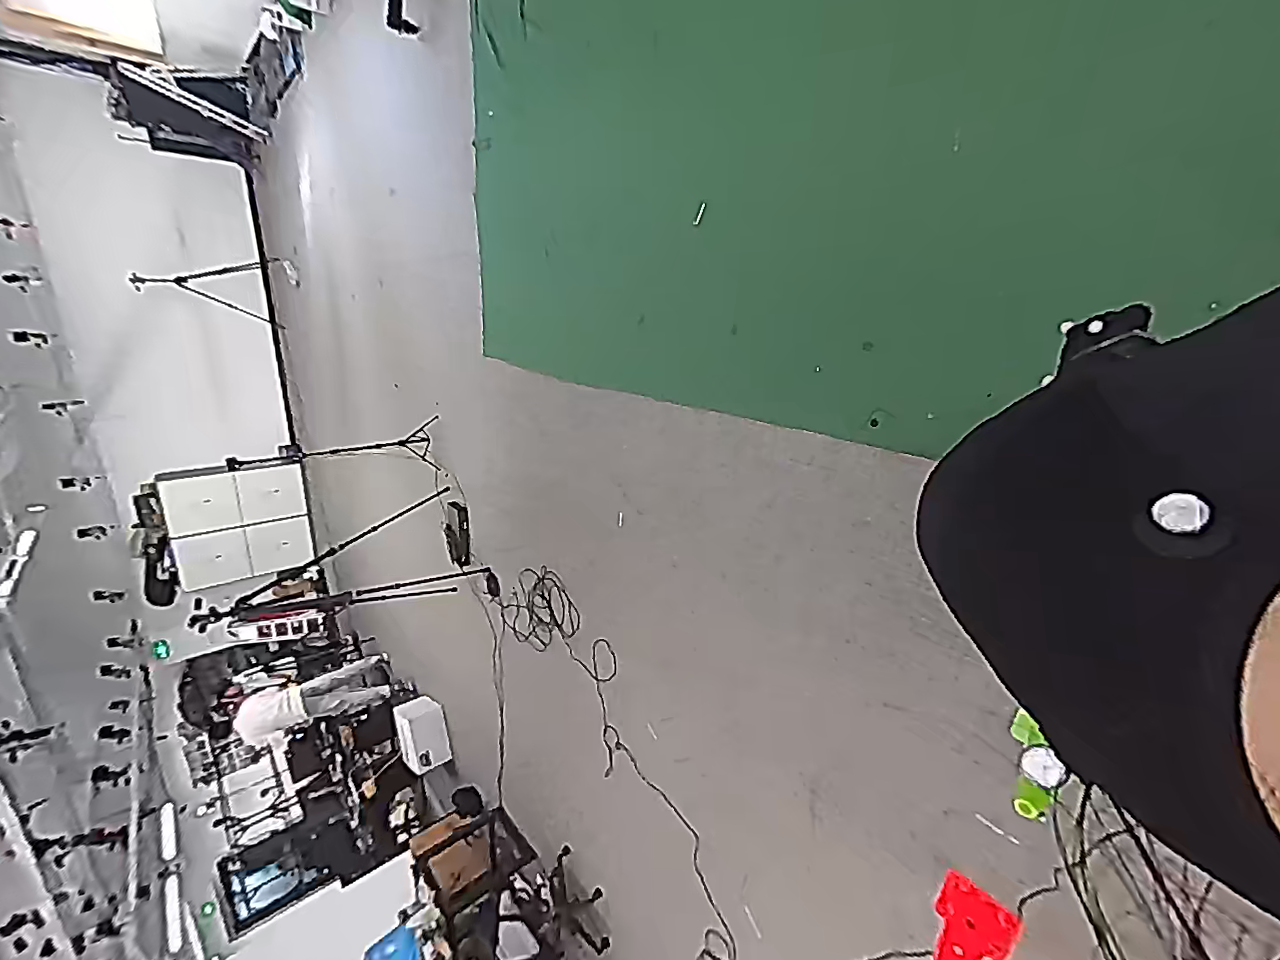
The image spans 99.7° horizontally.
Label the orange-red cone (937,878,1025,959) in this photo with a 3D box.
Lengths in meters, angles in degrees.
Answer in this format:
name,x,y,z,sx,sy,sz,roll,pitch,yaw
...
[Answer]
name,x,y,z,sx,sy,sz,roll,pitch,yaw
orange-red cone,0.877,1.334,1.486,0.198,0.360,0.199,27,118,42
